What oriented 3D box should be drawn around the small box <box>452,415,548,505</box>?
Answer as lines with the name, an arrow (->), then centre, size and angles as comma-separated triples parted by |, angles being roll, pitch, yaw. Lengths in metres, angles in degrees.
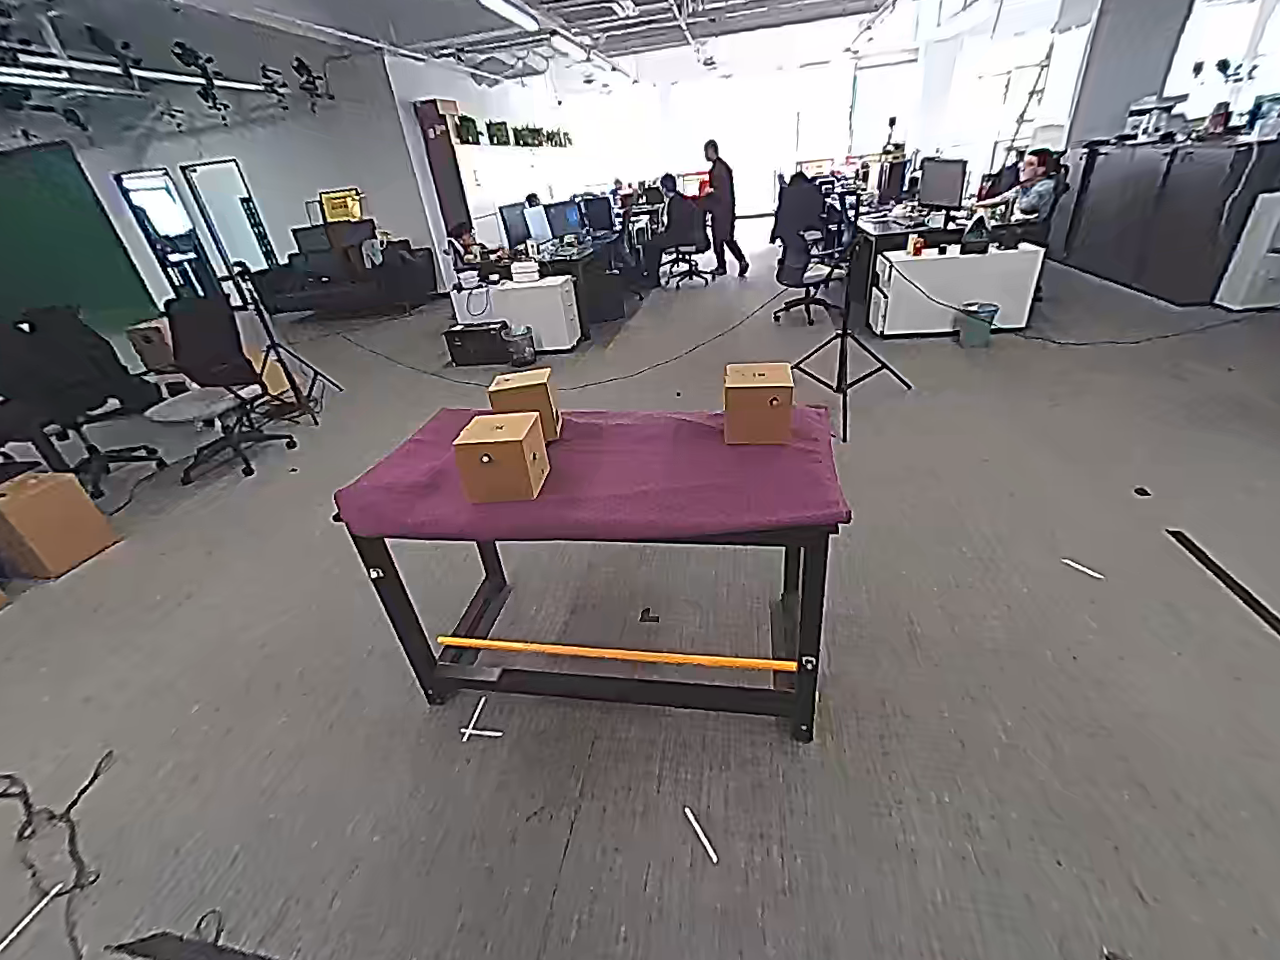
small box -> -0.340, -0.050, 1.360 | 0.179, 0.176, 0.168 | -3, 30, 7

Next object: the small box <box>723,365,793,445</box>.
small box -> 0.320, -0.204, 1.481 | 0.179, 0.176, 0.168 | 0, 32, 11
